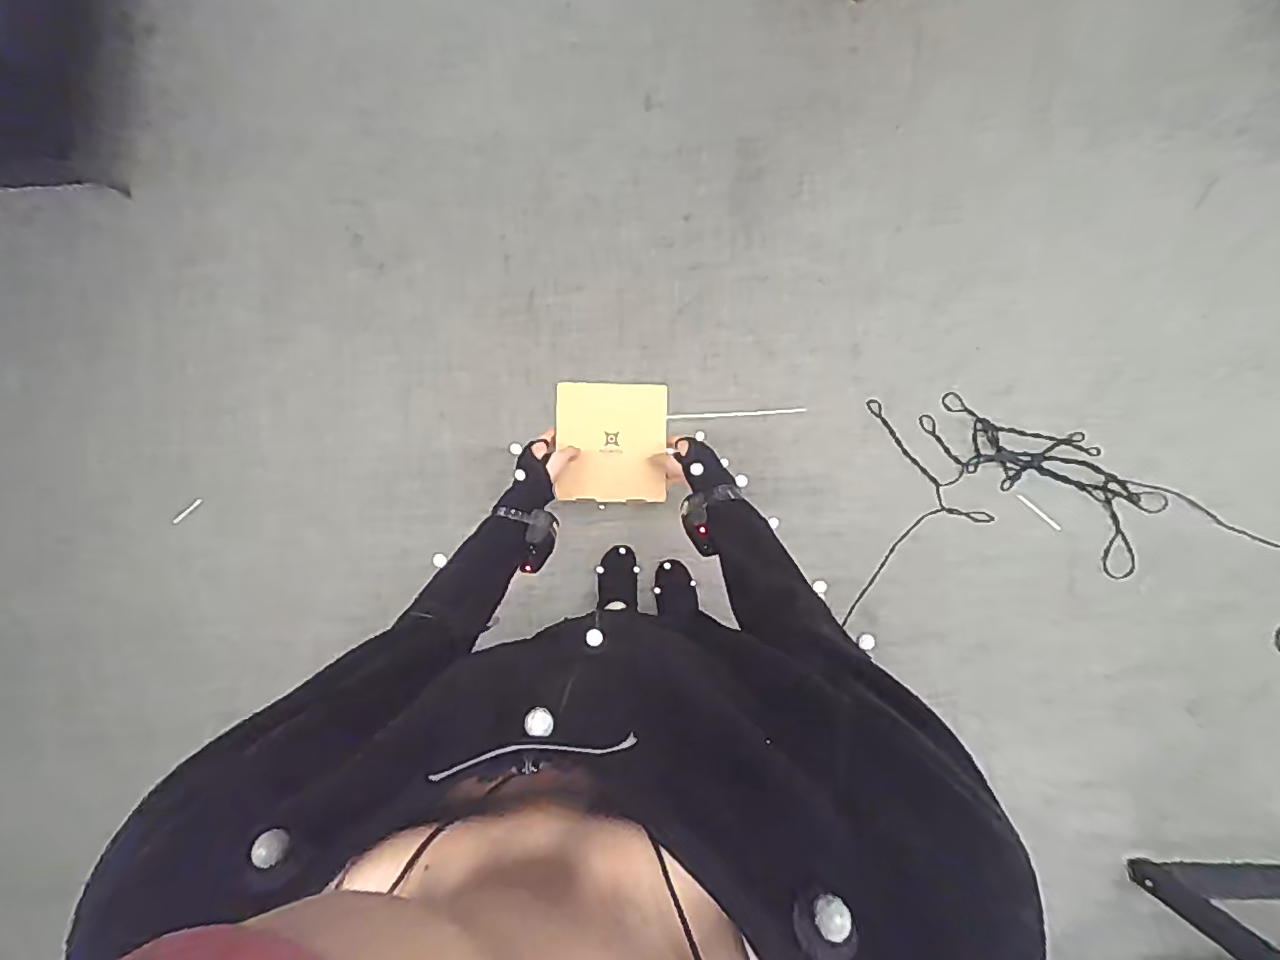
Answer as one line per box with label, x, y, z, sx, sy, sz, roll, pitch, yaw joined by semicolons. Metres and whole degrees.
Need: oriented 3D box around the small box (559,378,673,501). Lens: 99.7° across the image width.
small box;-0.041;-0.057;0.864;0.168;0.176;0.179;1;88;-4
